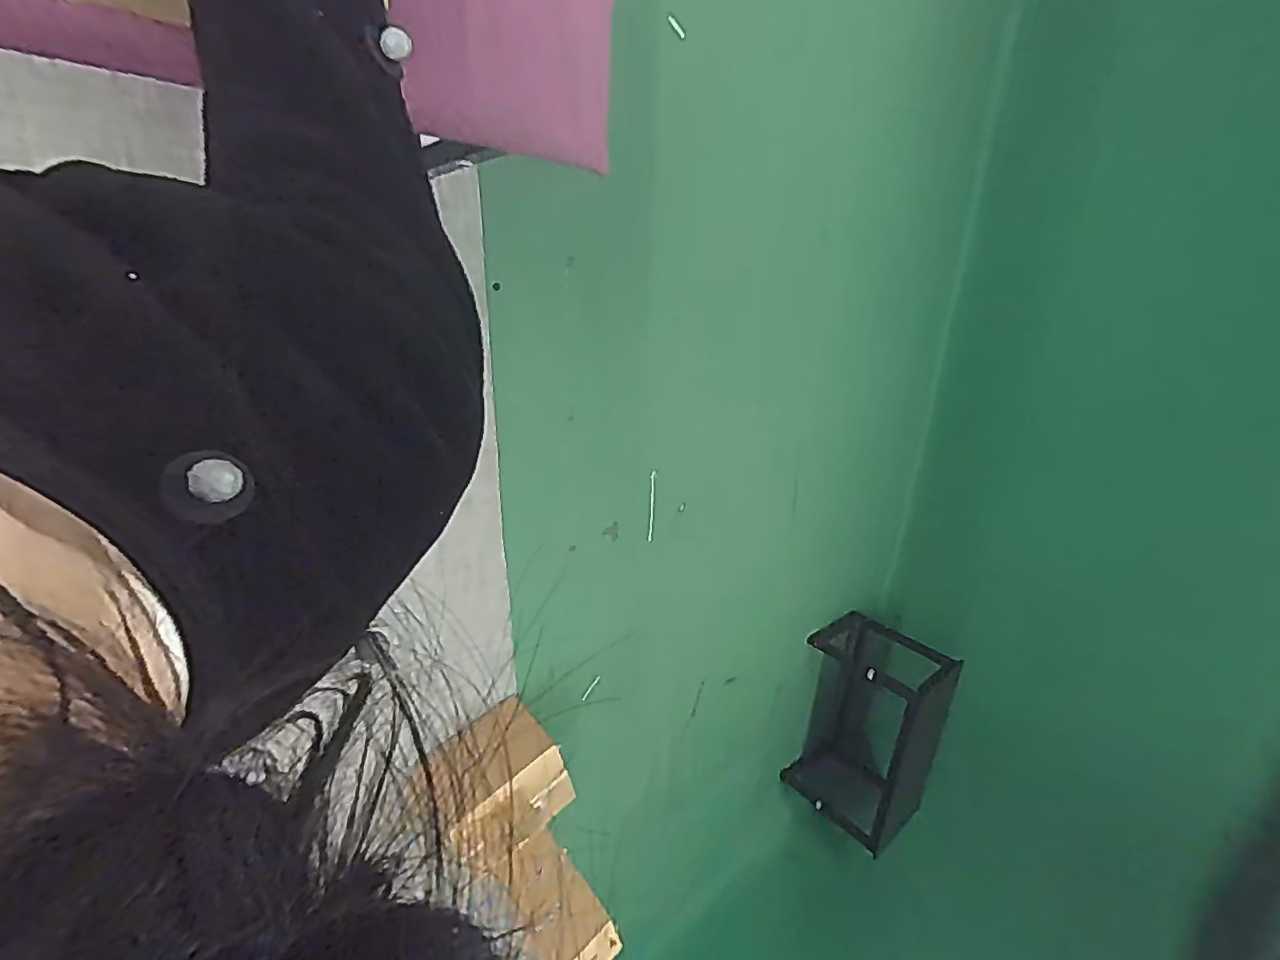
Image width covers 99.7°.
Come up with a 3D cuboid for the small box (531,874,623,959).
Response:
[{"bbox_3d":[-0.174,1.226,1.453,0.179,0.176,0.168,-29,124,-29],"label":"small box"}]

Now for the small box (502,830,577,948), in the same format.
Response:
[{"bbox_3d":[-0.281,1.179,1.569,0.179,0.176,0.168,-30,124,-30],"label":"small box"}]

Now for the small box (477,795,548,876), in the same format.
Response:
[{"bbox_3d":[-0.383,1.129,1.686,0.168,0.176,0.179,-29,124,-30],"label":"small box"}]

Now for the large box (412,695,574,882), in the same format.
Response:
[{"bbox_3d":[-0.506,1.054,1.888,0.408,0.320,0.320,-31,126,-31],"label":"large box"}]
